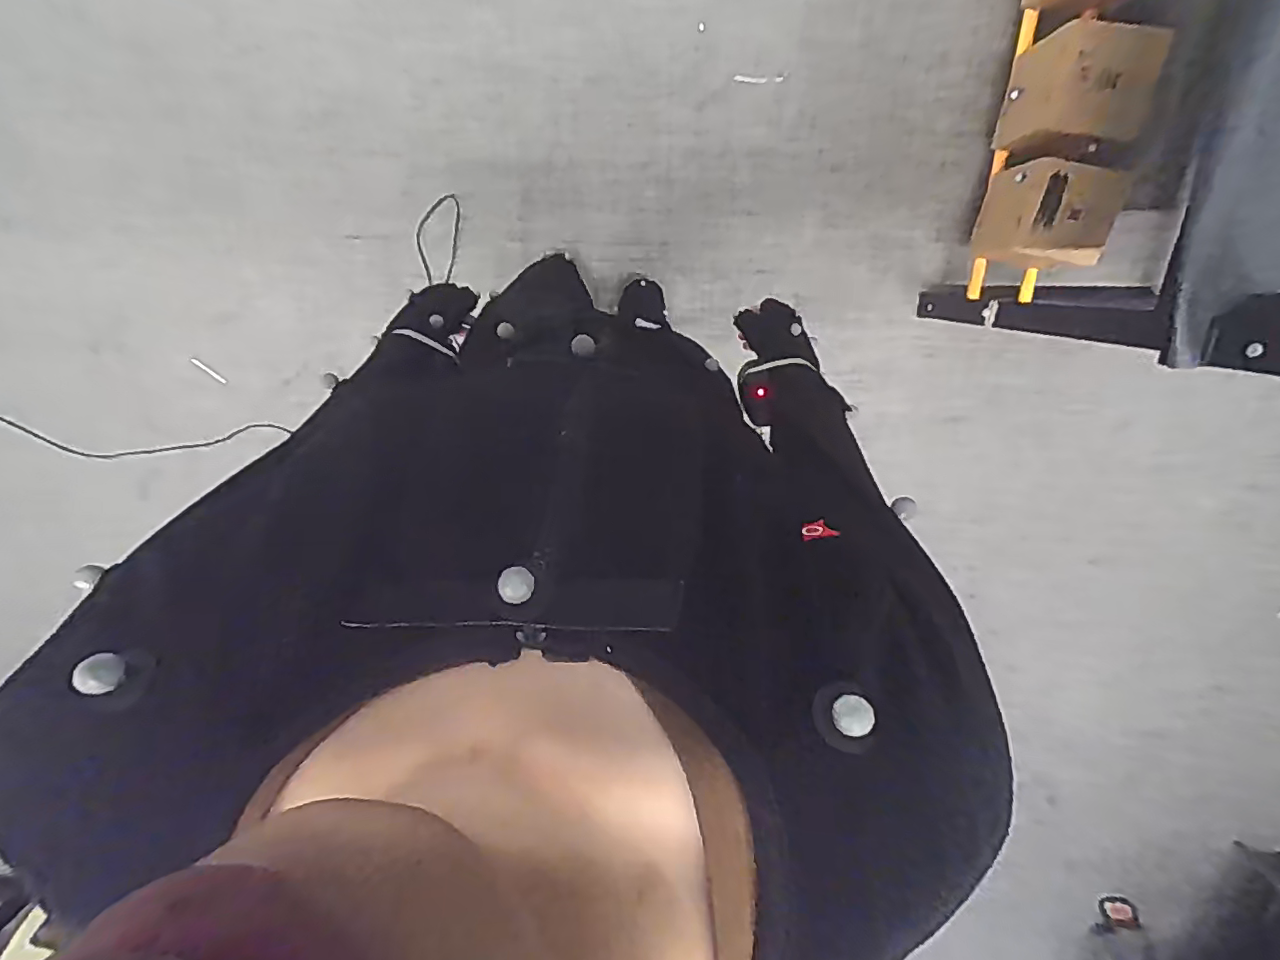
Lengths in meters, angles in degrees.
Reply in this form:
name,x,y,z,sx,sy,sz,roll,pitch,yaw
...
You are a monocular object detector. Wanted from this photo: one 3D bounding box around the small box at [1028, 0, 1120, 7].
name,x,y,z,sx,sy,sz,roll,pitch,yaw
small box,0.828,-0.957,0.935,0.179,0.176,0.168,4,111,3
